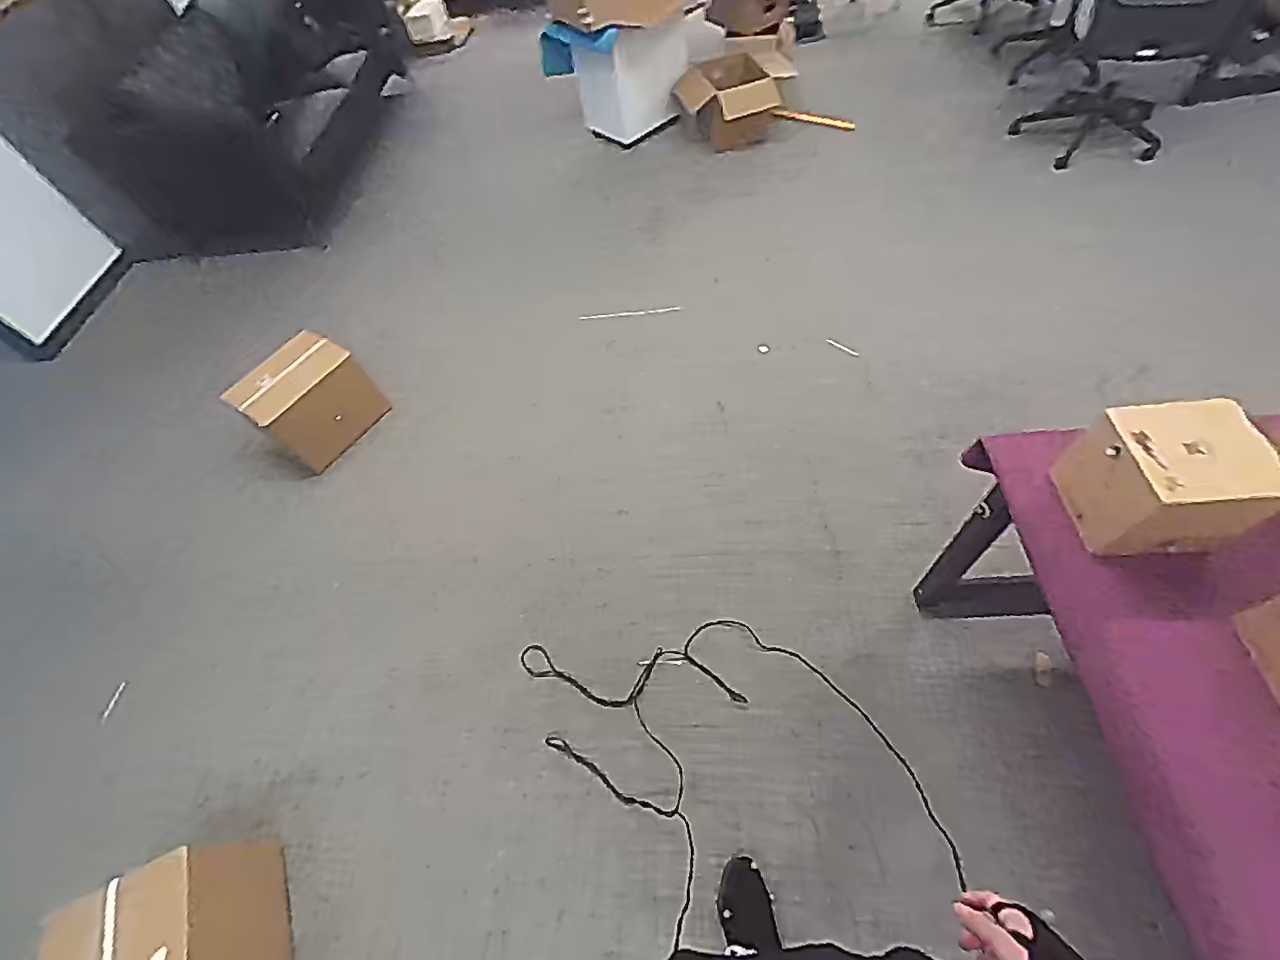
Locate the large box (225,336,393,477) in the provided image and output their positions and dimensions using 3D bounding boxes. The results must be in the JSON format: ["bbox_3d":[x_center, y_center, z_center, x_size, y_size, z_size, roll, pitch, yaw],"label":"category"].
[{"bbox_3d":[-1.287,-0.292,2.143,0.320,0.320,0.408,26,65,24],"label":"large box"}]

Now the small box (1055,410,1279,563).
[{"bbox_3d":[0.782,0.015,0.806,0.179,0.176,0.168,-3,56,5],"label":"small box"}]

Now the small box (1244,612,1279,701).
[{"bbox_3d":[0.912,0.235,0.641,0.168,0.176,0.179,-2,57,7],"label":"small box"}]
